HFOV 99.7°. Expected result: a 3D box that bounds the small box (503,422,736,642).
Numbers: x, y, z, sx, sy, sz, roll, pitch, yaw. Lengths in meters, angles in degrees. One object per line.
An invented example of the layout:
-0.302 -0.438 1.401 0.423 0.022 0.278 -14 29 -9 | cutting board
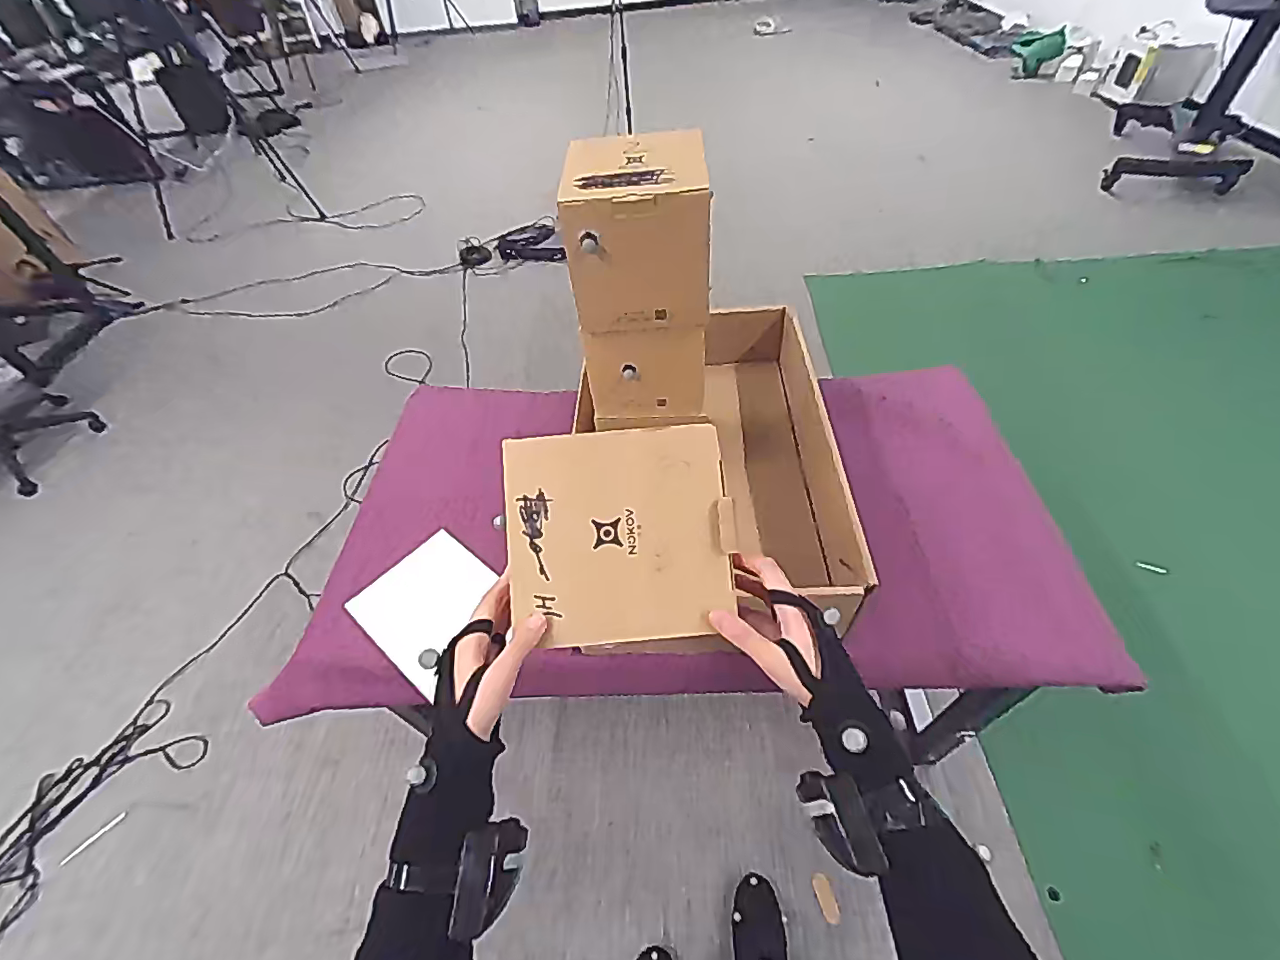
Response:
-0.021 0.049 0.499 0.179 0.176 0.168 -4 81 -2 | small box

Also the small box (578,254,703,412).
0.011 -0.216 0.818 0.168 0.176 0.179 -1 51 5 | small box
